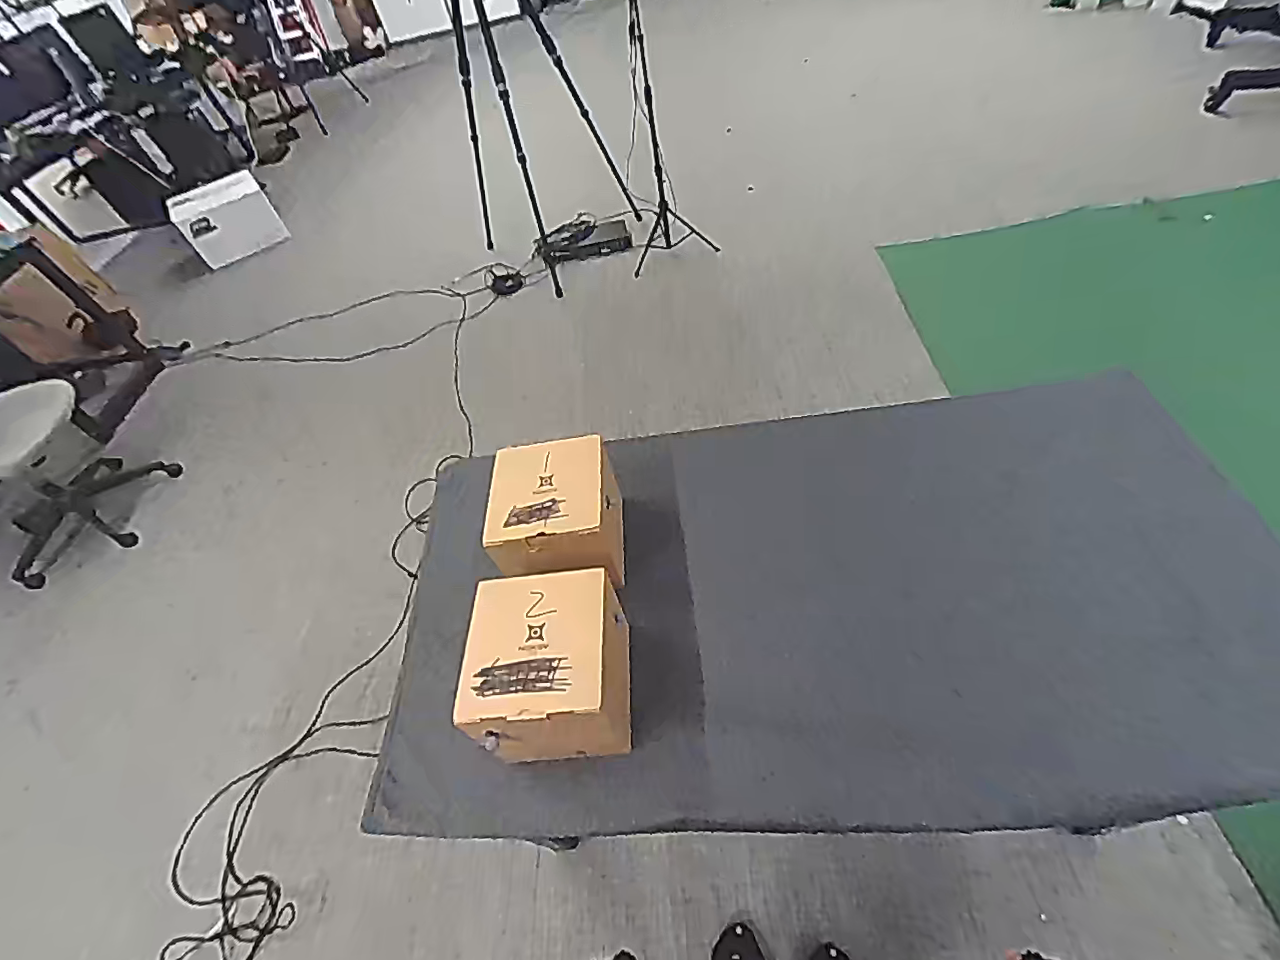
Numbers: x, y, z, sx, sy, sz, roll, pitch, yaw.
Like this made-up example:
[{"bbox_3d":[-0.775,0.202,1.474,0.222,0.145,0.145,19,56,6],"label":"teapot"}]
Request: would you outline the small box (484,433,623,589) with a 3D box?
[{"bbox_3d":[-0.122,0.056,0.834,0.168,0.176,0.179,-8,50,6],"label":"small box"}]
